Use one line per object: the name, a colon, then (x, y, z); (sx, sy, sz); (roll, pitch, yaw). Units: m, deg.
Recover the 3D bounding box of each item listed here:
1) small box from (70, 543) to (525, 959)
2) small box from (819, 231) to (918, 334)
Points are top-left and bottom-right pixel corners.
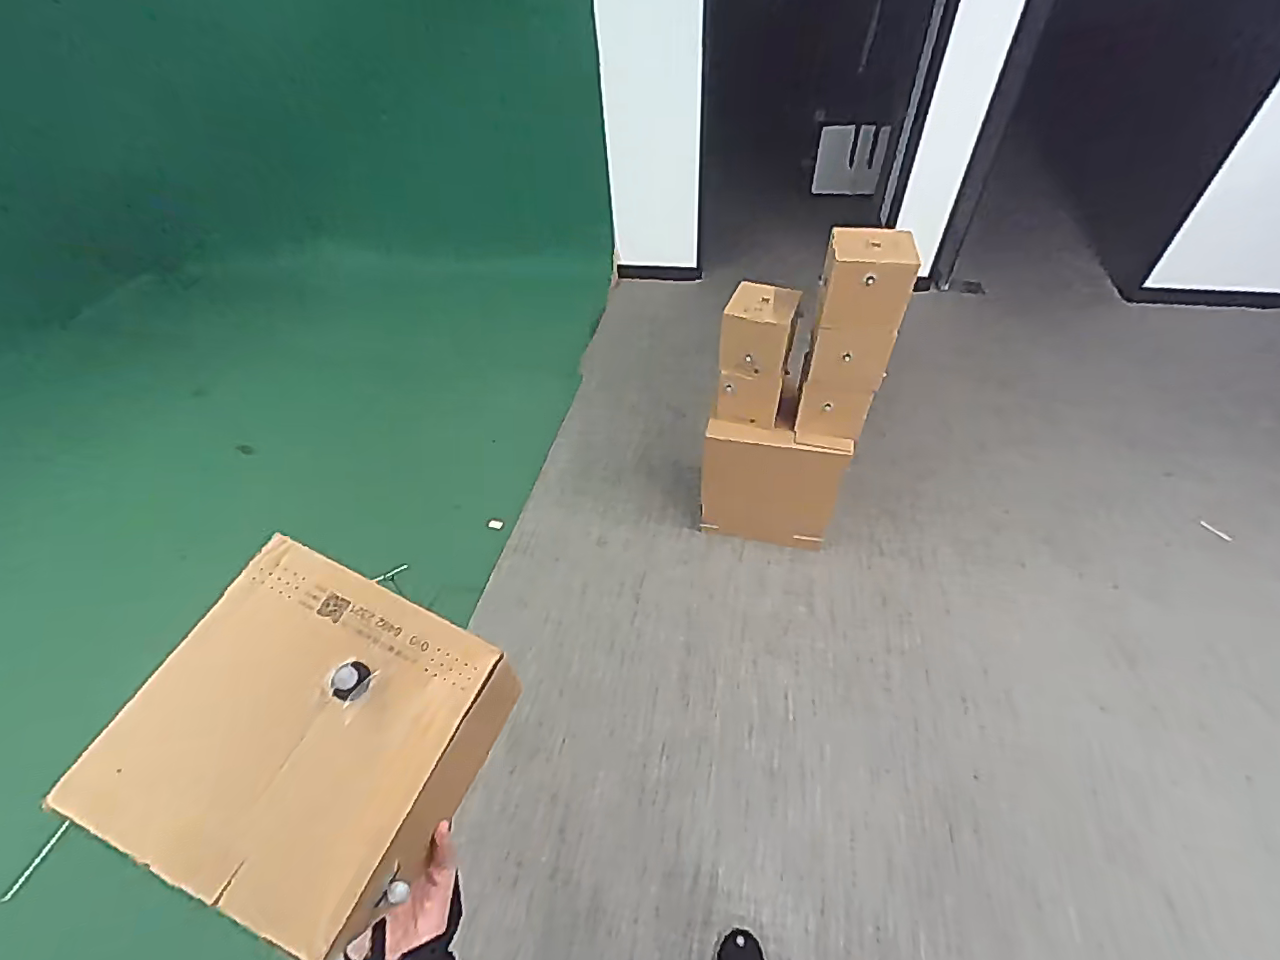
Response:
small box: (-0.195, 0.171, 0.379); (0.168, 0.179, 0.176); (25, 62, 6)
small box: (0.514, -0.454, 1.246); (0.179, 0.176, 0.168); (7, 49, 10)
